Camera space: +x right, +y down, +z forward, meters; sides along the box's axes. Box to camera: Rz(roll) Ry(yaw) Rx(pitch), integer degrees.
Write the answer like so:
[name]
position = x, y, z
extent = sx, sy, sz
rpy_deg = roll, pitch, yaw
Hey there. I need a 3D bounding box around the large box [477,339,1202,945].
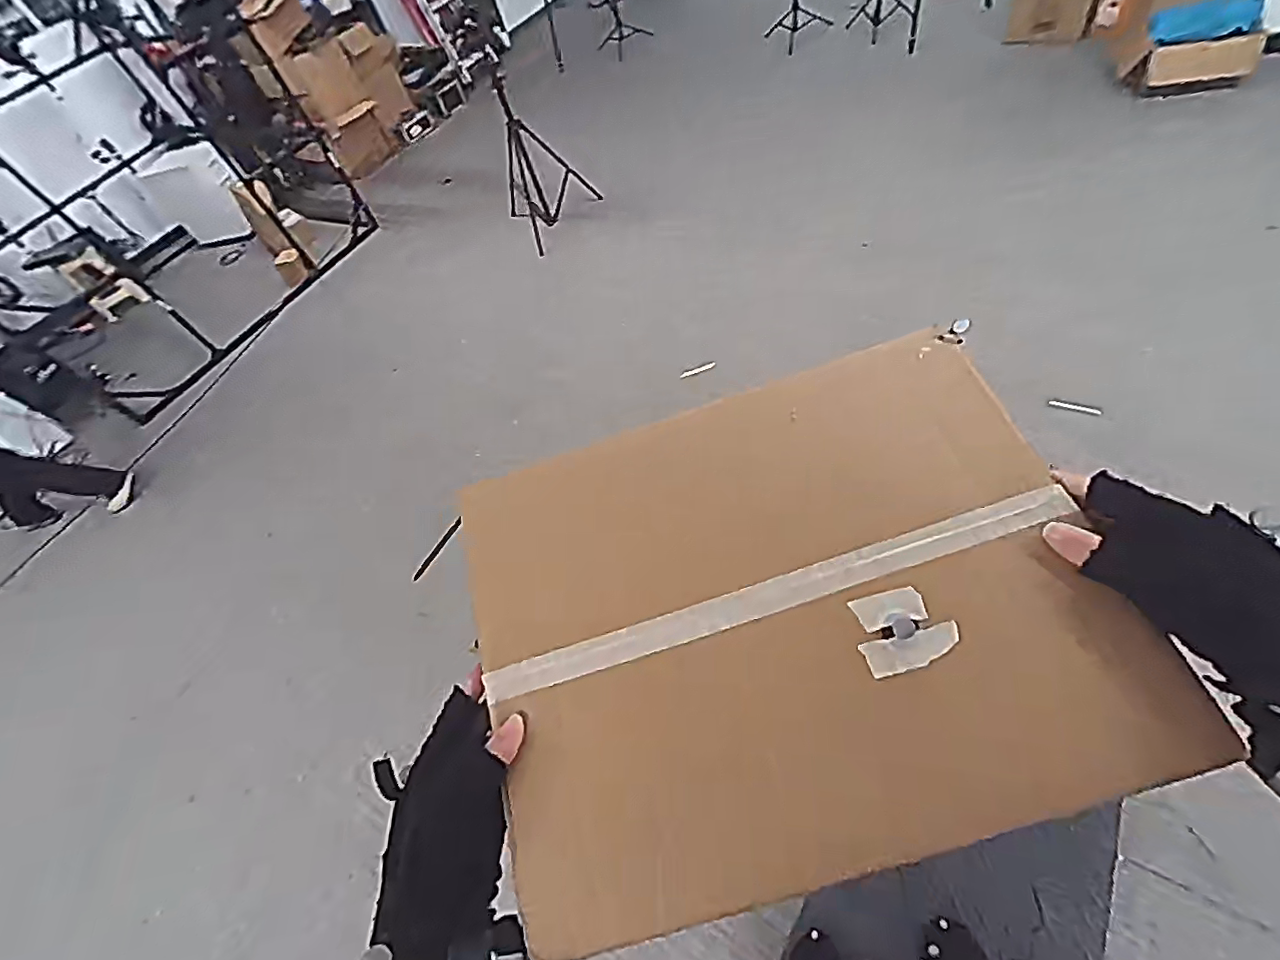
[large box]
position = 0.116, 0.140, 0.509
extent = 0.408, 0.320, 0.320
rpy_deg = -19, 65, 2
